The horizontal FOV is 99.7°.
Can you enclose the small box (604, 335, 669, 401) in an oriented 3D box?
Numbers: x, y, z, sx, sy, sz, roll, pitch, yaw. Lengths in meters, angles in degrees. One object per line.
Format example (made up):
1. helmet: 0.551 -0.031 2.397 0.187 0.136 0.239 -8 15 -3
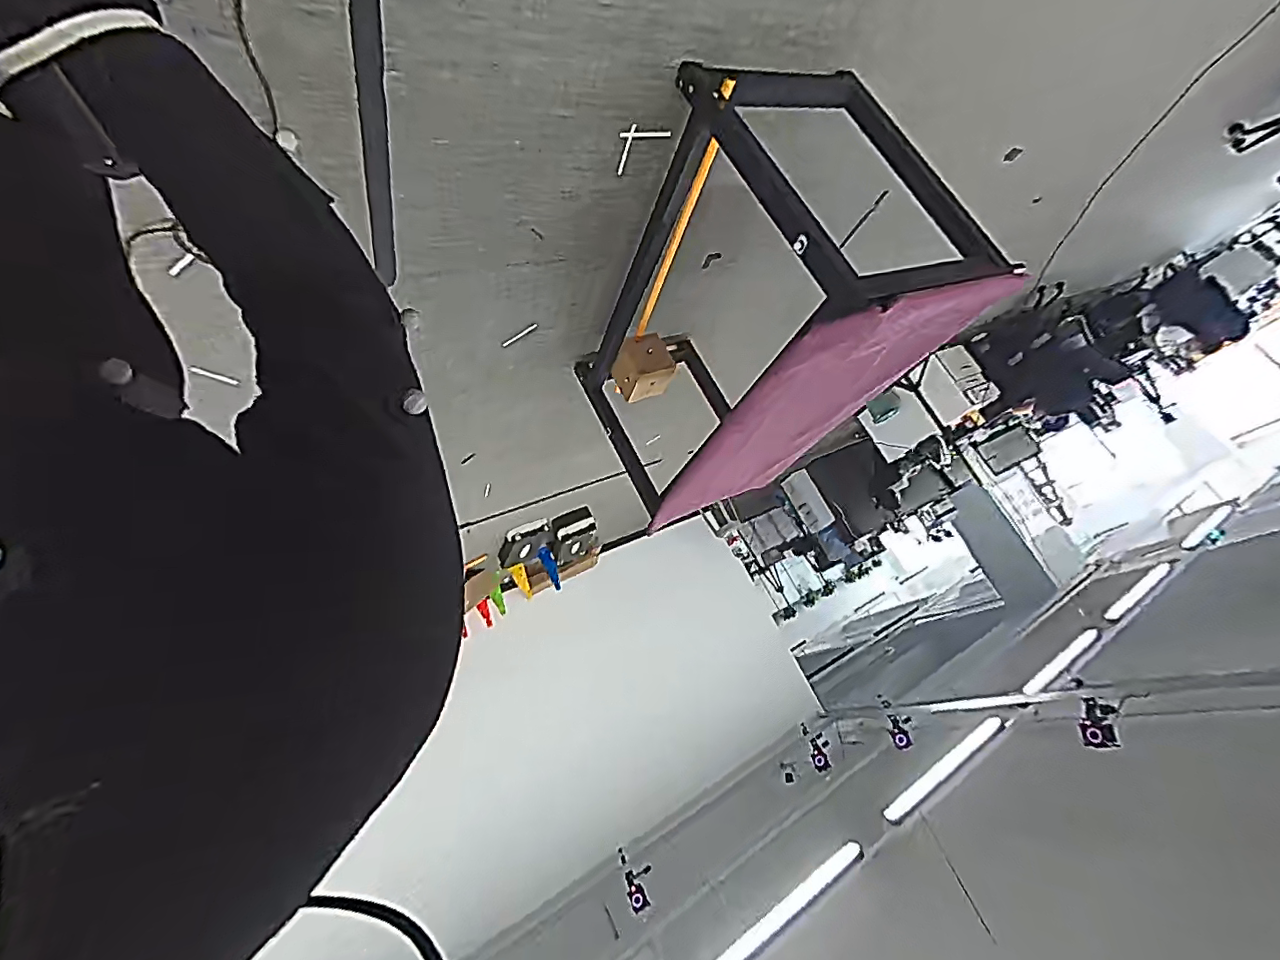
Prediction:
1. small box: -0.020 -0.430 2.039 0.168 0.176 0.179 -19 162 -26
